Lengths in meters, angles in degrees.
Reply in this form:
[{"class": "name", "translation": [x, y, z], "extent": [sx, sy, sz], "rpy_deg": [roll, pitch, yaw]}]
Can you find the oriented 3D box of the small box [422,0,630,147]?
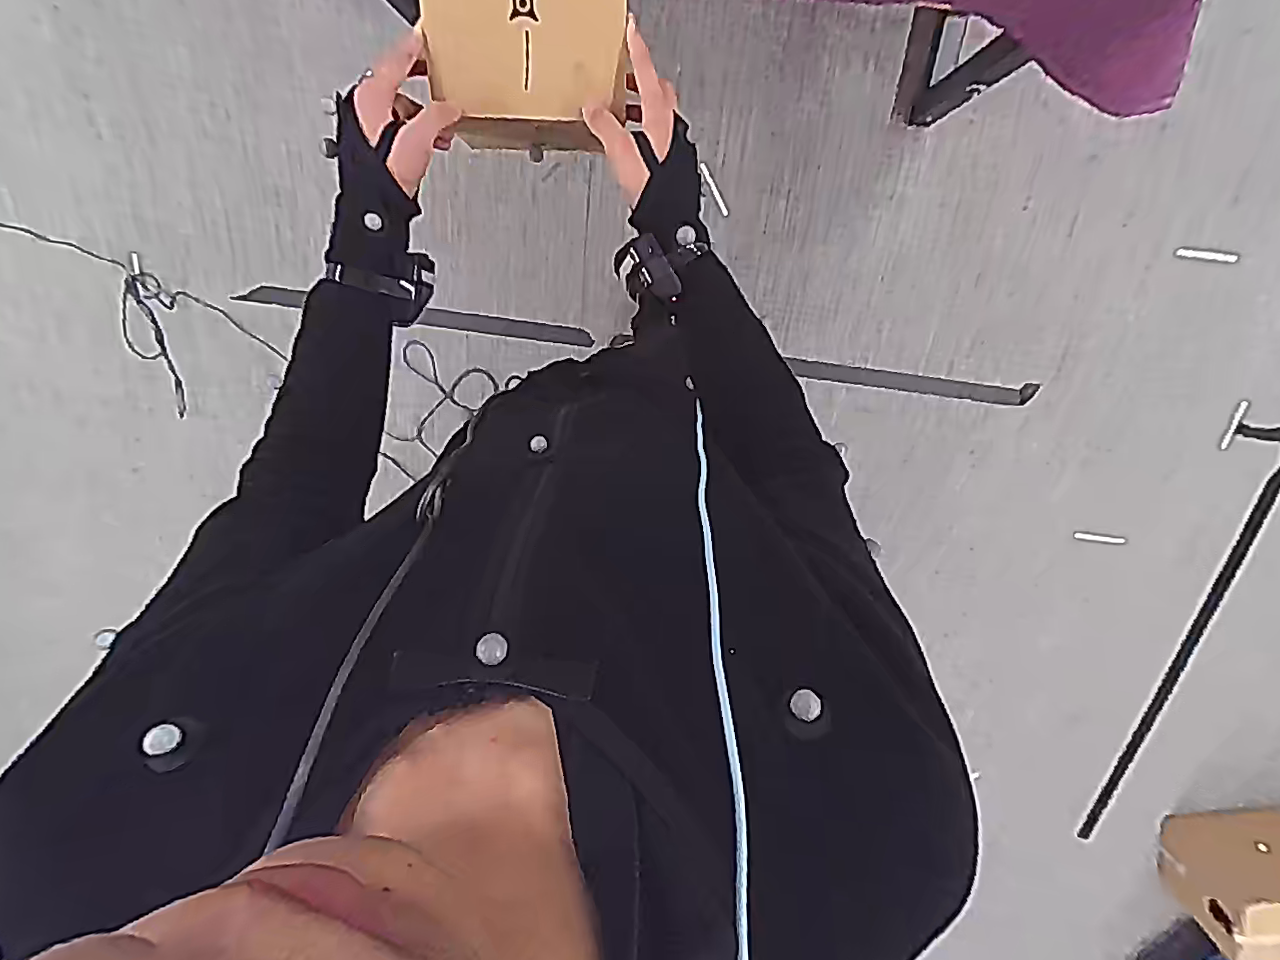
[{"class": "small box", "translation": [-0.097, -0.424, 0.497], "extent": [0.168, 0.176, 0.179], "rpy_deg": [-1, 114, -5]}]
